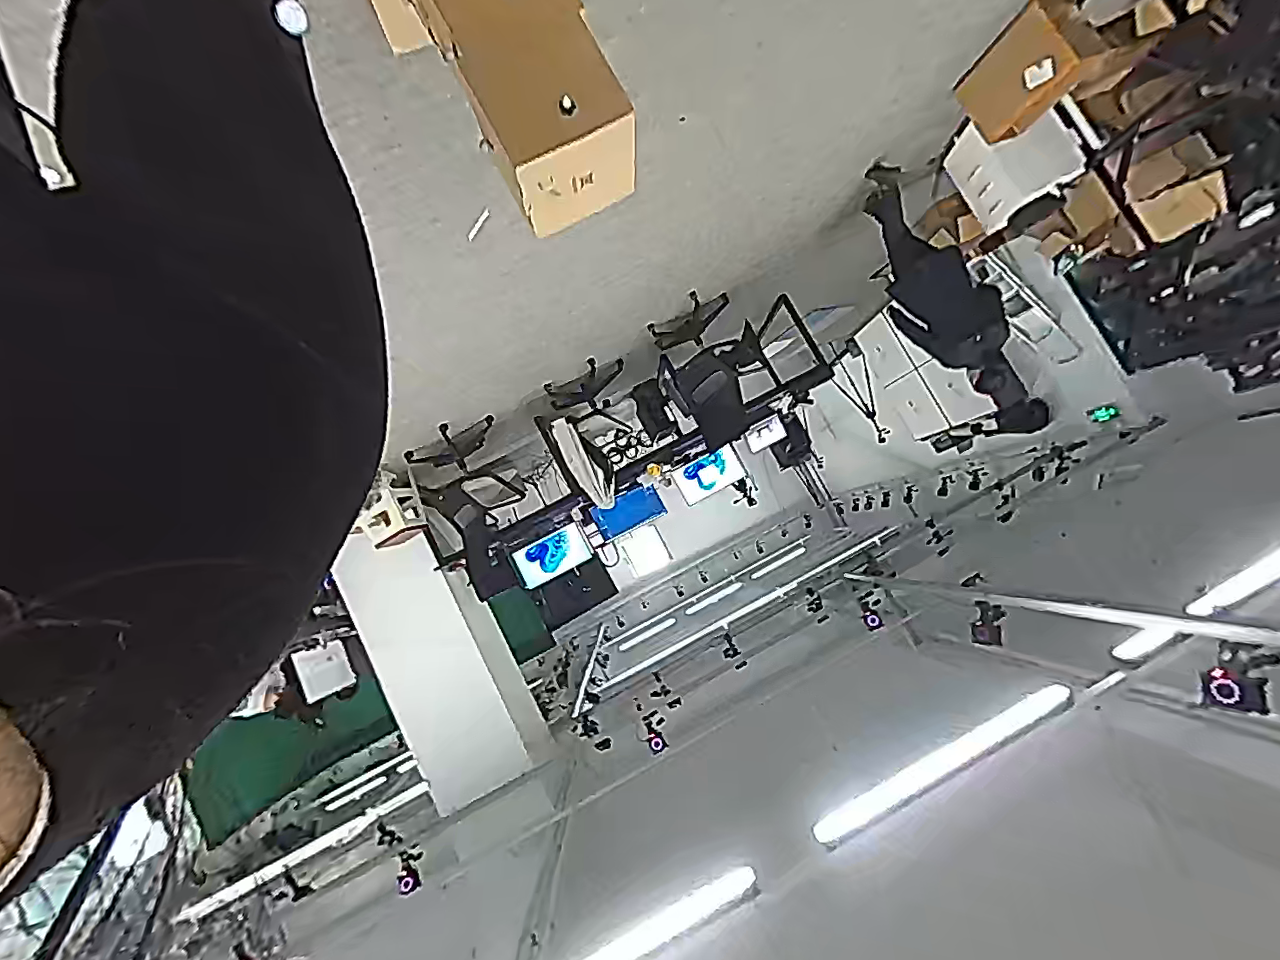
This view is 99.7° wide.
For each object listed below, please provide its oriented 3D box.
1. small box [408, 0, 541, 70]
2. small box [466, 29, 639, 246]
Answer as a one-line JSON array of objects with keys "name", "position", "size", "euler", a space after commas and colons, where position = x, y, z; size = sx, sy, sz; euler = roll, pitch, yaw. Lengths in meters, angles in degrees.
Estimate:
[{"name": "small box", "position": [-0.273, -0.773, 0.793], "size": [0.179, 0.176, 0.168], "euler": [-29, 175, -2]}, {"name": "small box", "position": [-0.117, -0.483, 0.773], "size": [0.179, 0.176, 0.168], "euler": [-28, 175, -4]}]
